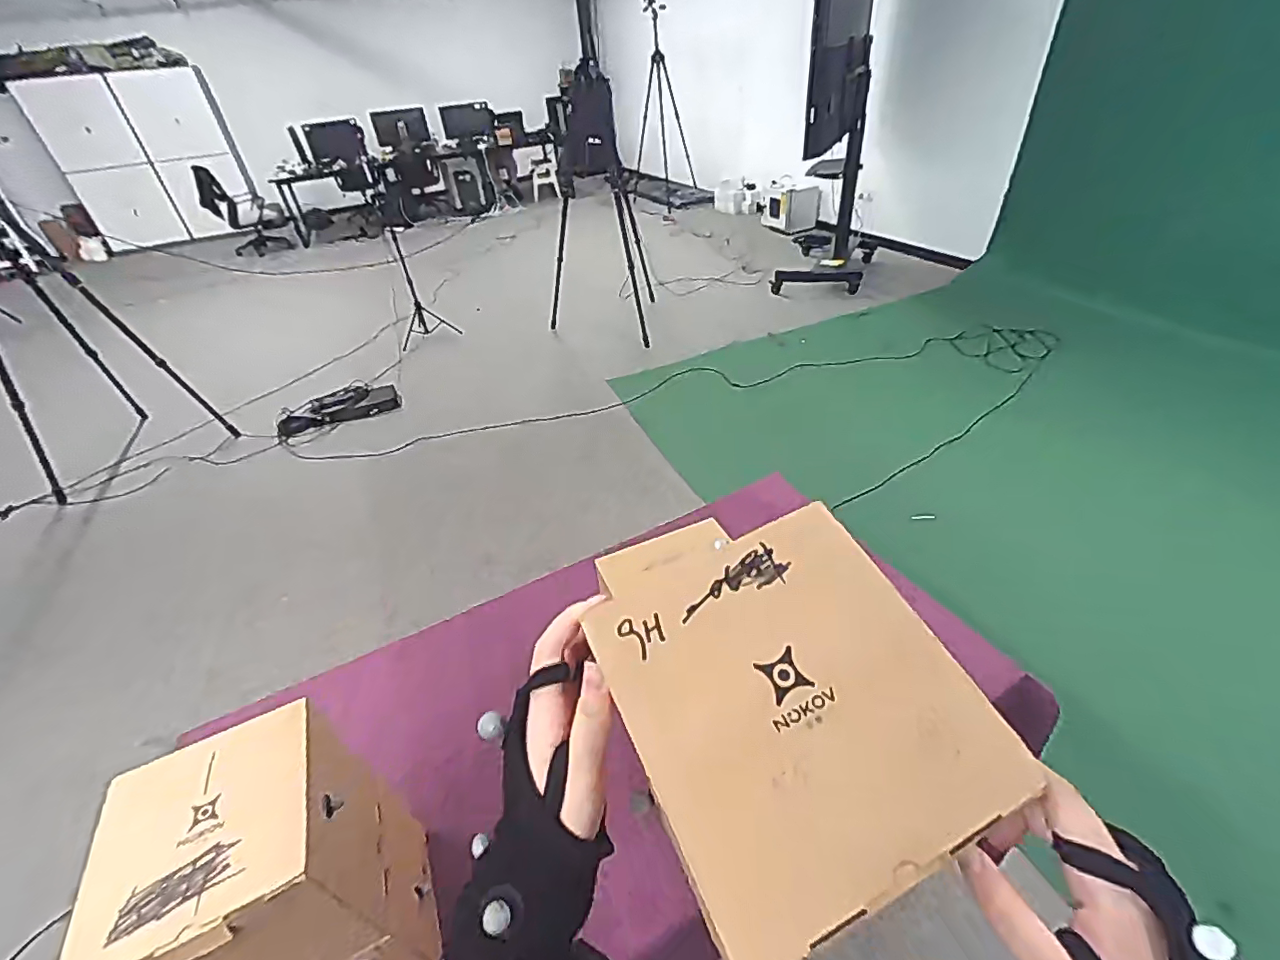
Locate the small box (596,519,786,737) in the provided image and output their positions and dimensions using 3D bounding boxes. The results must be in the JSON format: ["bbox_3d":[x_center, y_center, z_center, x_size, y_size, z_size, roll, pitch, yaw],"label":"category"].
[{"bbox_3d":[0.060,0.184,0.663,0.168,0.176,0.179,-18,39,-14],"label":"small box"}]

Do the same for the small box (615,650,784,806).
[{"bbox_3d":[0.081,0.316,0.757,0.179,0.176,0.168,-18,40,-14],"label":"small box"}]

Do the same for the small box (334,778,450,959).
[{"bbox_3d":[-0.339,0.491,0.612,0.179,0.176,0.168,-21,40,-17],"label":"small box"}]

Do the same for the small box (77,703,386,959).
[{"bbox_3d":[-0.359,0.360,0.514,0.168,0.176,0.179,-21,39,-18],"label":"small box"}]
